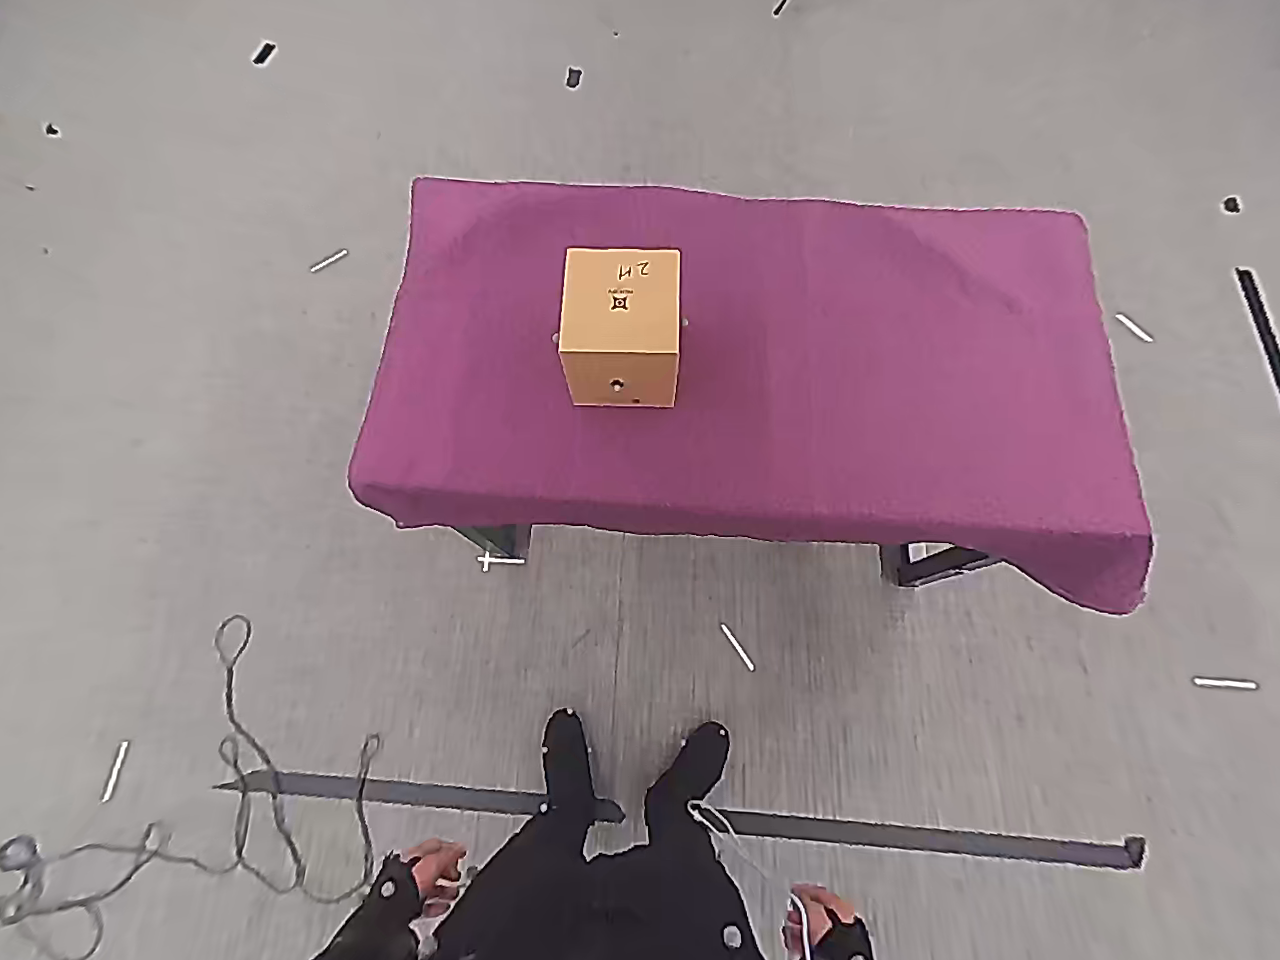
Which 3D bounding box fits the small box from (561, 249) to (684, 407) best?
[{"bbox_3d":[-0.020,-0.223,0.827,0.168,0.176,0.179,2,71,1],"label":"small box"}]
